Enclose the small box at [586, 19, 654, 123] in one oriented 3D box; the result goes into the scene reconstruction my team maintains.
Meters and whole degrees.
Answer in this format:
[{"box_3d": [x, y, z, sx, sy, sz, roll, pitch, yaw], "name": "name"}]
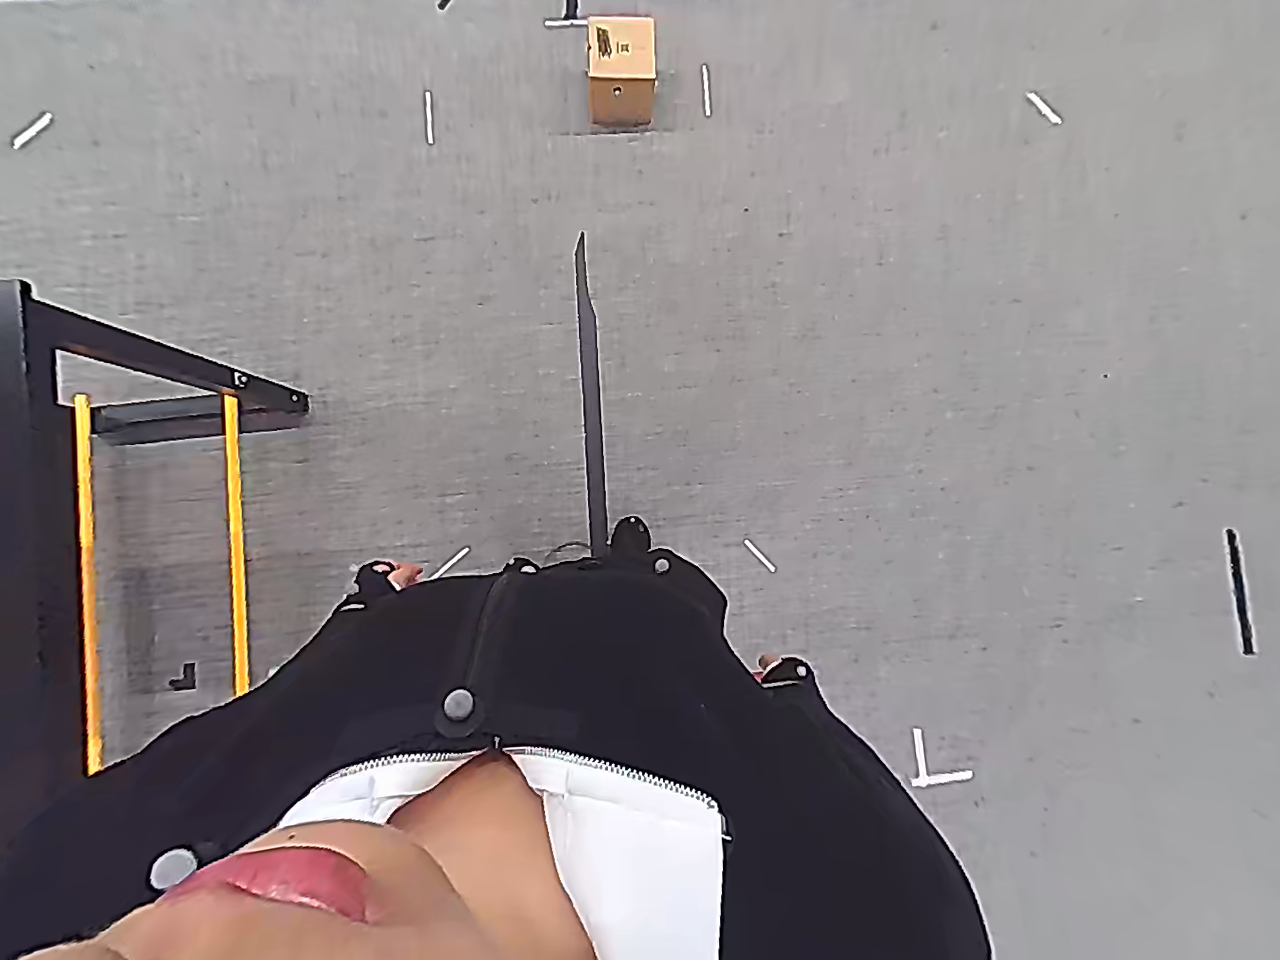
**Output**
[{"box_3d": [-0.055, -1.115, 1.484, 0.179, 0.176, 0.168, -1, 88, -4], "name": "small box"}]
